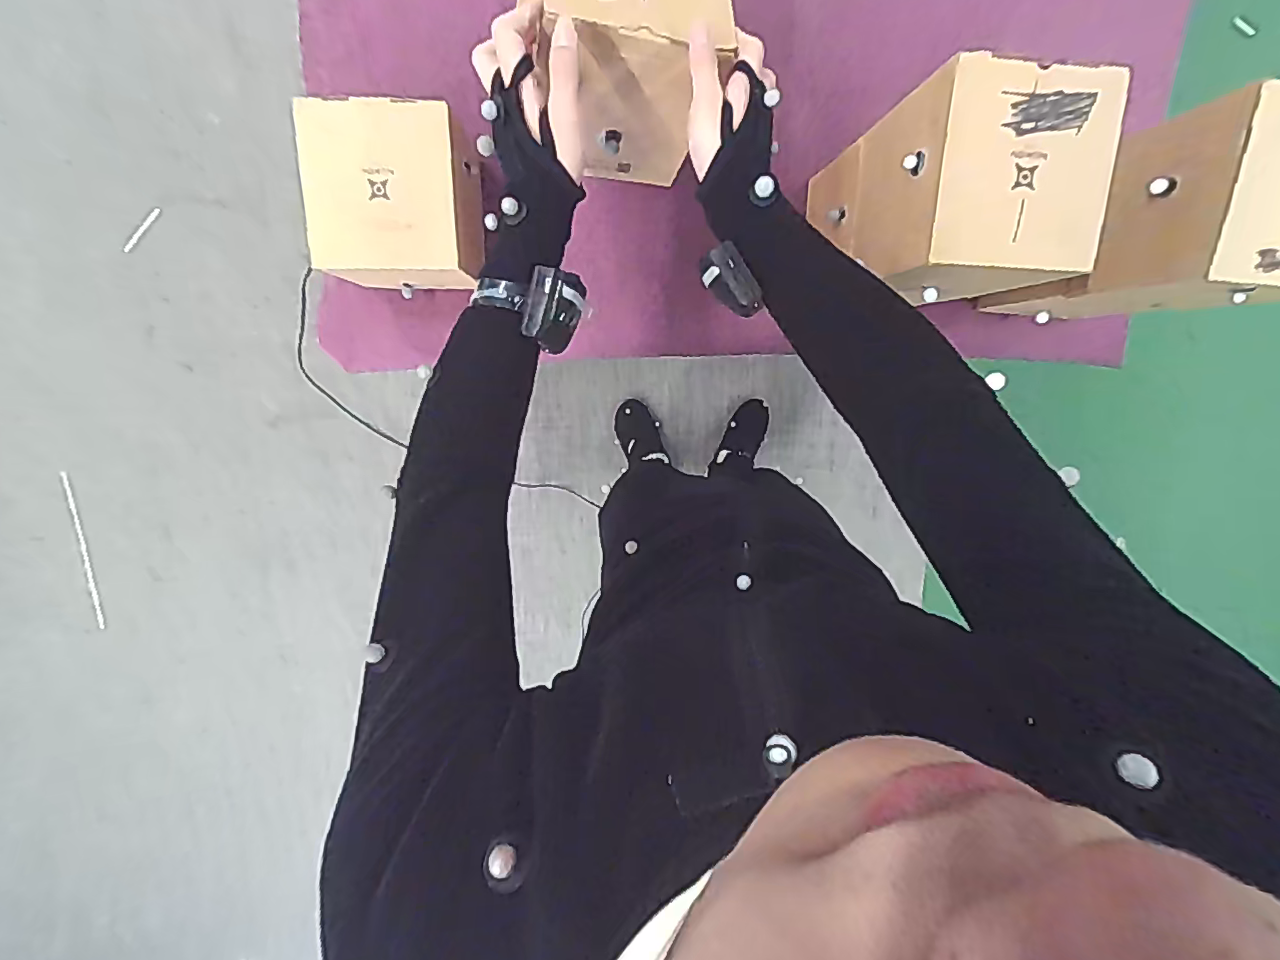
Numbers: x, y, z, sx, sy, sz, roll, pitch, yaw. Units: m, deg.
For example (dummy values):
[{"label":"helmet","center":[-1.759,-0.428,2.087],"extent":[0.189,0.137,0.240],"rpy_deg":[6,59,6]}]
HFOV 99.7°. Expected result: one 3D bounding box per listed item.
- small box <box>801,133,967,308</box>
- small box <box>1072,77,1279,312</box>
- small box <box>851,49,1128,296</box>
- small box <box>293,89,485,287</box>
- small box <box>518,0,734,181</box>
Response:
[{"label":"small box","center":[0.329,-0.332,0.728],"extent":[0.168,0.176,0.179],"rpy_deg":[1,101,-4]},{"label":"small box","center":[0.623,-0.289,0.587],"extent":[0.168,0.176,0.179],"rpy_deg":[4,101,-4]},{"label":"small box","center":[0.342,-0.300,0.567],"extent":[0.168,0.176,0.179],"rpy_deg":[2,102,-4]},{"label":"small box","center":[-0.296,-0.347,0.674],"extent":[0.168,0.176,0.179],"rpy_deg":[-1,102,-4]},{"label":"small box","center":[-0.027,-0.429,0.519],"extent":[0.168,0.176,0.179],"rpy_deg":[-2,82,-16]}]
